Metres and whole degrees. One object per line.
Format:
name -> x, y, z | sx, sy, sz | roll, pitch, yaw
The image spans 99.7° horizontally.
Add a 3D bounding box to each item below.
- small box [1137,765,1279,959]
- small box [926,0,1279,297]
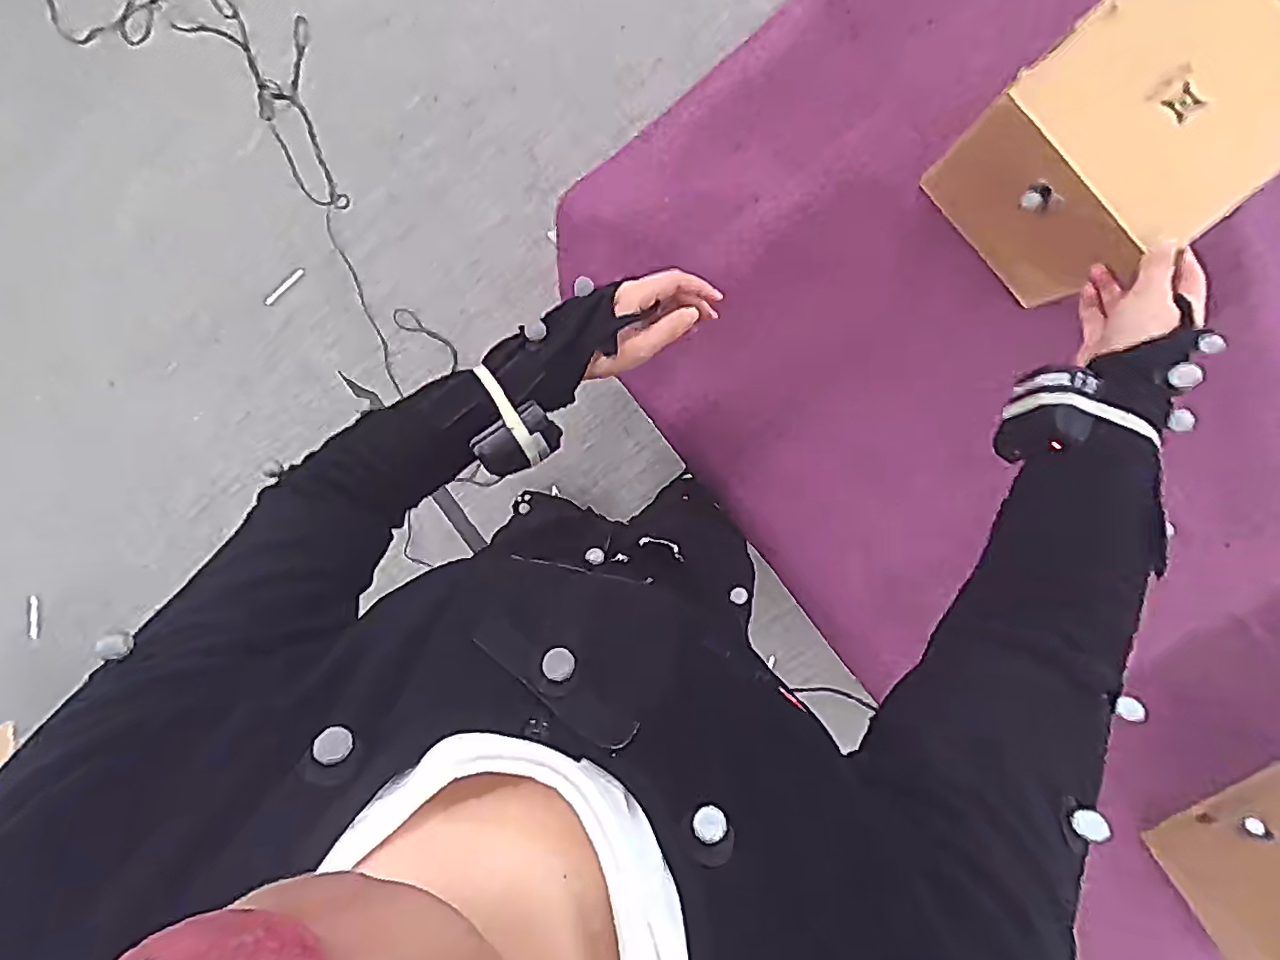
small box -> 0.664, 0.428, 0.526 | 0.168, 0.176, 0.179 | -35, 91, 7
small box -> 0.401, -0.285, 0.479 | 0.168, 0.176, 0.179 | -40, 91, 9
